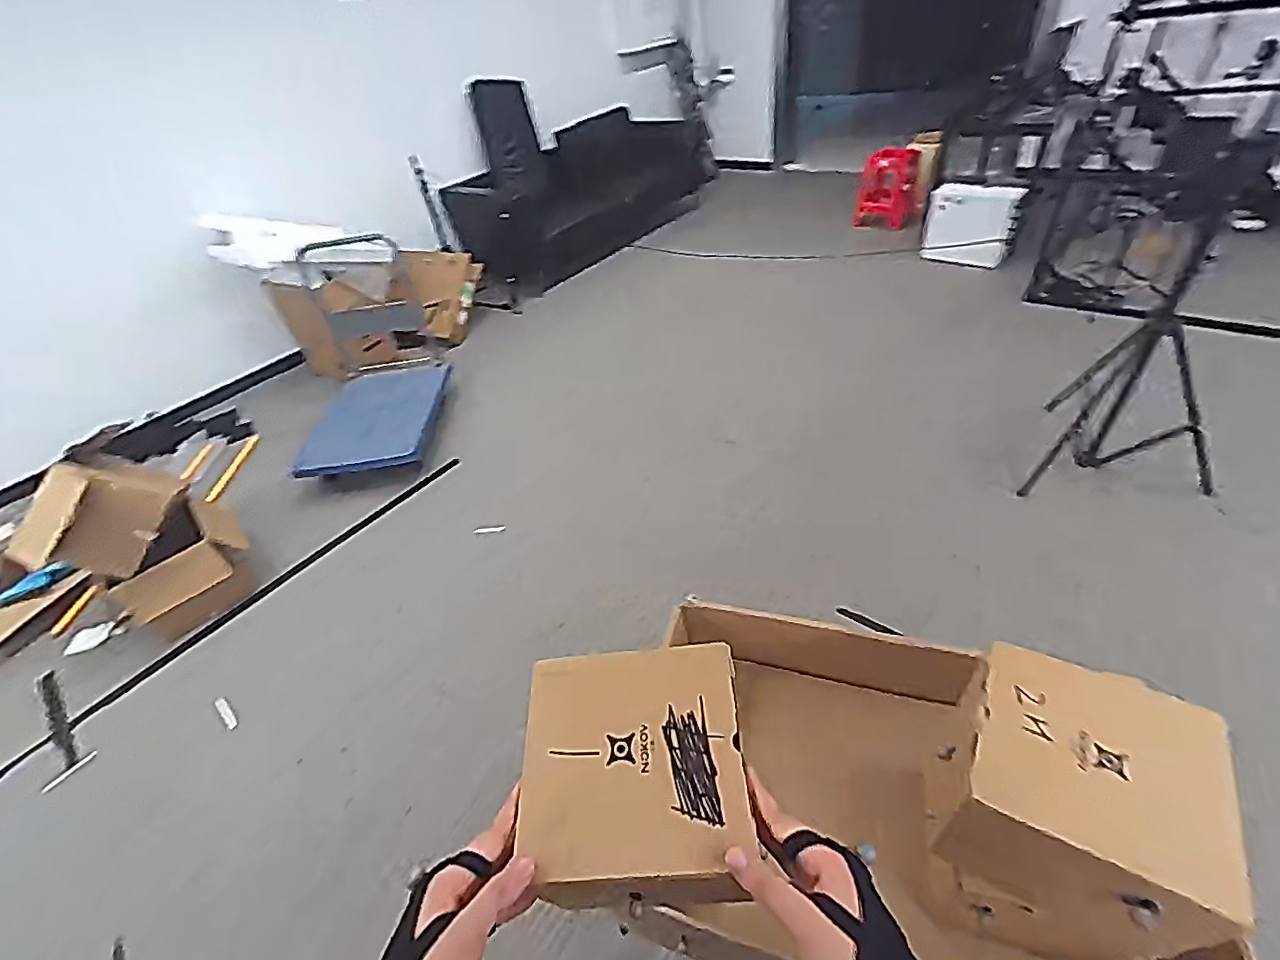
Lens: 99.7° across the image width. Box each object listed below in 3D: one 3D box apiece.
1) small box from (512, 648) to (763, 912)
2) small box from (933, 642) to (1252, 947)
[{"bbox_3d":[0.004,0.268,0.480,0.179,0.176,0.168,-7,46,4],"label":"small box"},{"bbox_3d":[0.400,0.292,0.508,0.179,0.176,0.168,16,48,29],"label":"small box"}]
